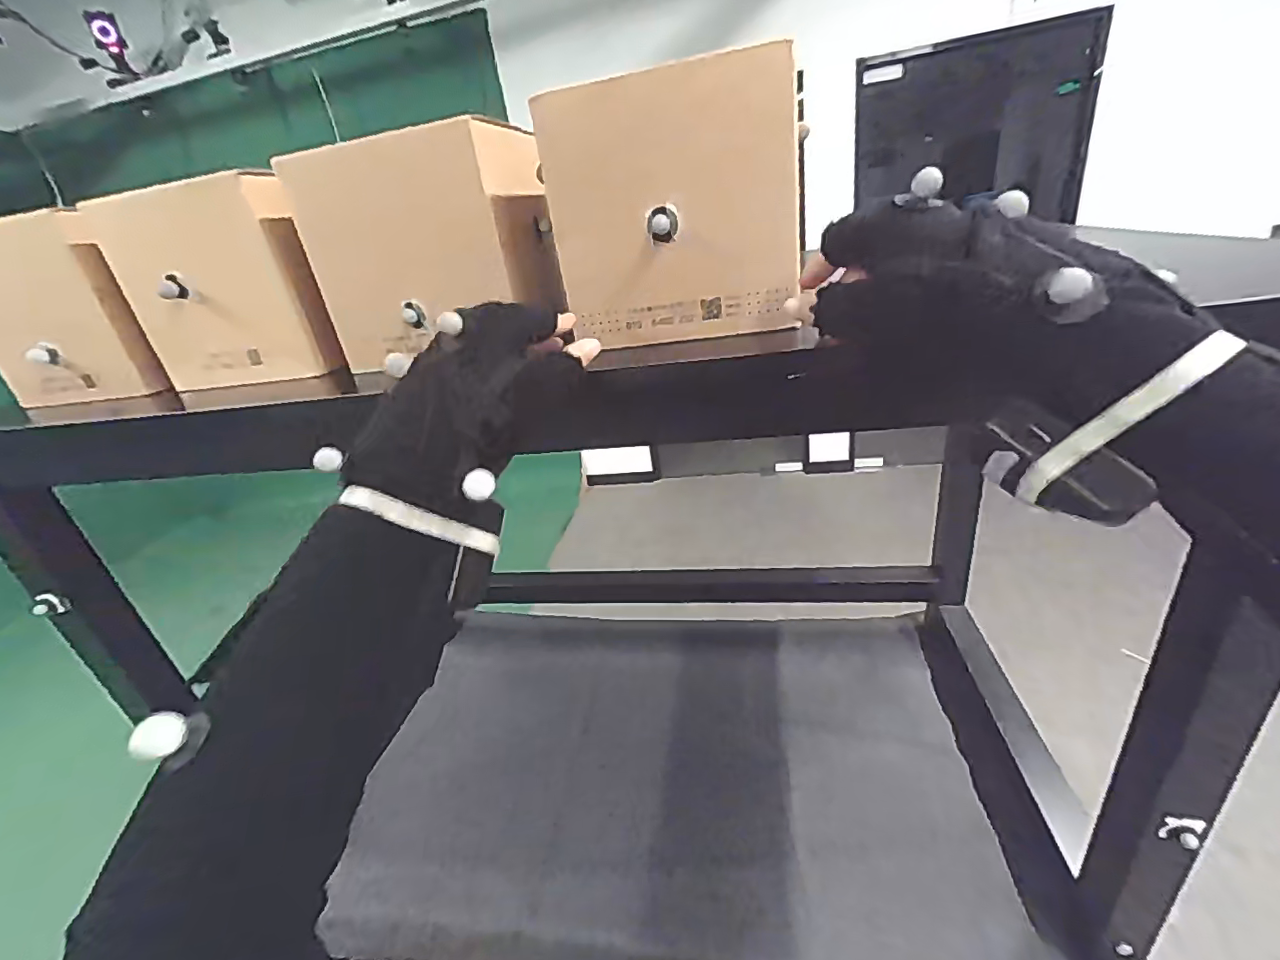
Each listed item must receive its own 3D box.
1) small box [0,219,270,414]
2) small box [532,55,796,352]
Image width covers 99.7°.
[{"bbox_3d":[-0.552,-0.181,0.592,0.168,0.176,0.179,-4,27,12],"label":"small box"},{"bbox_3d":[0.034,-0.205,0.439,0.168,0.176,0.179,-3,26,12],"label":"small box"}]
